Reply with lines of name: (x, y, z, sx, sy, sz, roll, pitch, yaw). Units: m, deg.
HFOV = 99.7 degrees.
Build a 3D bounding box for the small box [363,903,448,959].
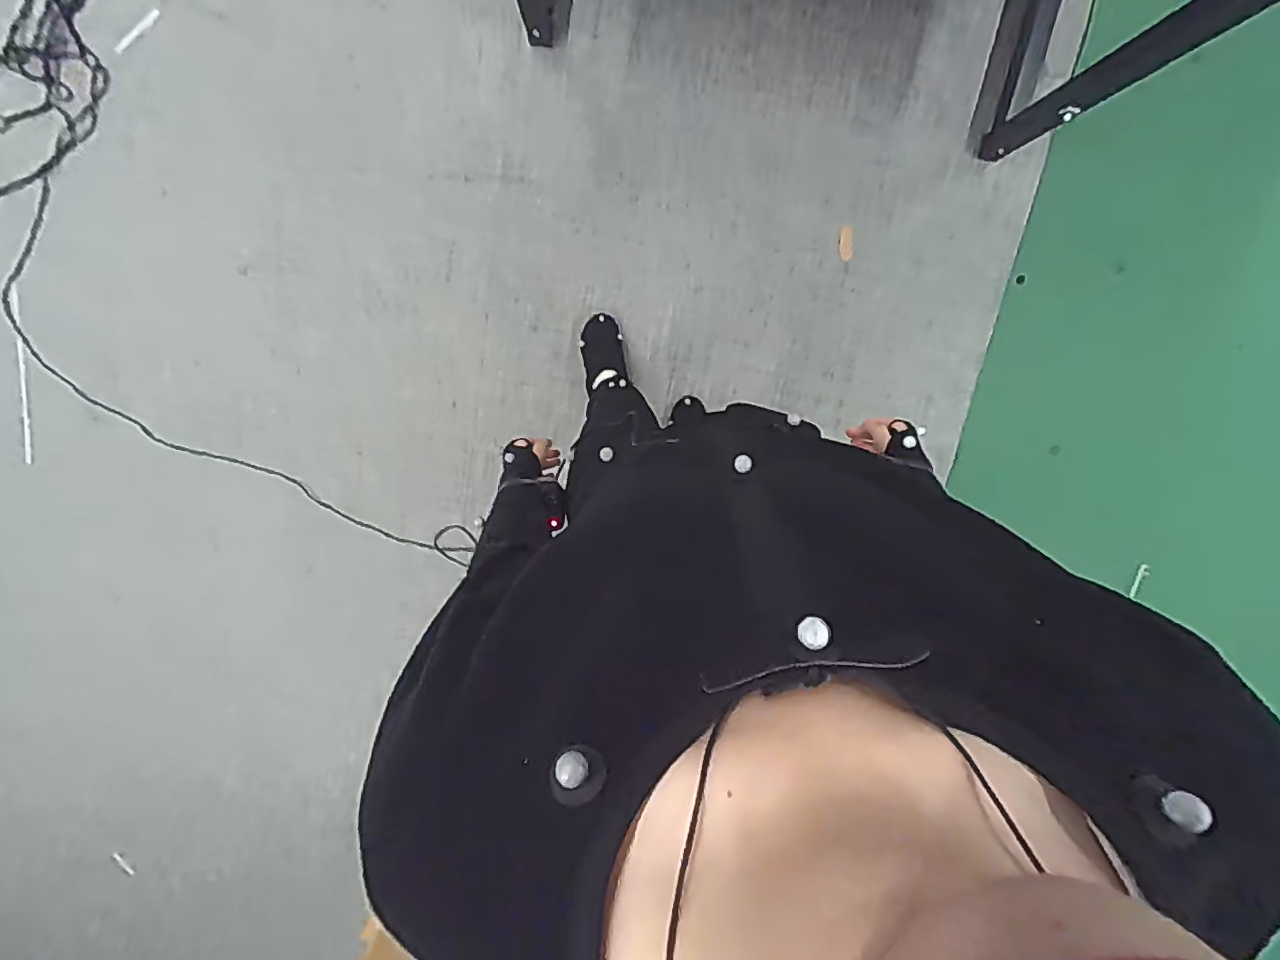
small box: (-0.605, 1.218, 1.345, 0.168, 0.176, 0.179, 28, 101, -6)
